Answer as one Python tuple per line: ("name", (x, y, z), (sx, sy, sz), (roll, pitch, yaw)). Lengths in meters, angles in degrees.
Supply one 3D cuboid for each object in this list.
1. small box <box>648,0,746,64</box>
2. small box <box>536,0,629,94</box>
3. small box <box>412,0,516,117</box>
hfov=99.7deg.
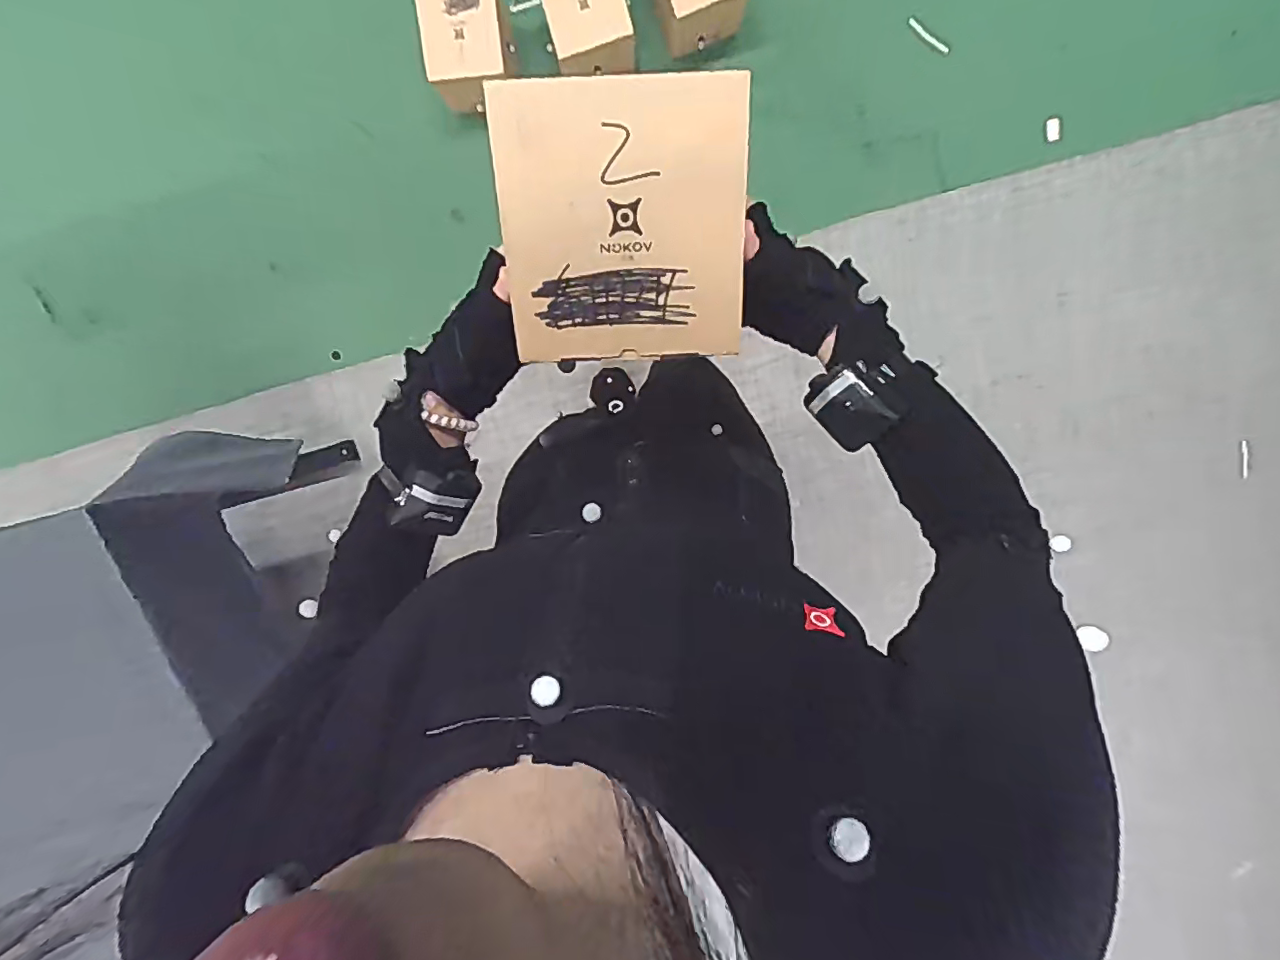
("small box", (0.113, -1.056, 1.162), (0.168, 0.176, 0.179), (-20, 102, 4))
("small box", (-0.123, -0.979, 1.173), (0.168, 0.176, 0.179), (-17, 102, 2))
("small box", (-0.377, -0.930, 1.182), (0.168, 0.176, 0.179), (-4, 103, 1))
